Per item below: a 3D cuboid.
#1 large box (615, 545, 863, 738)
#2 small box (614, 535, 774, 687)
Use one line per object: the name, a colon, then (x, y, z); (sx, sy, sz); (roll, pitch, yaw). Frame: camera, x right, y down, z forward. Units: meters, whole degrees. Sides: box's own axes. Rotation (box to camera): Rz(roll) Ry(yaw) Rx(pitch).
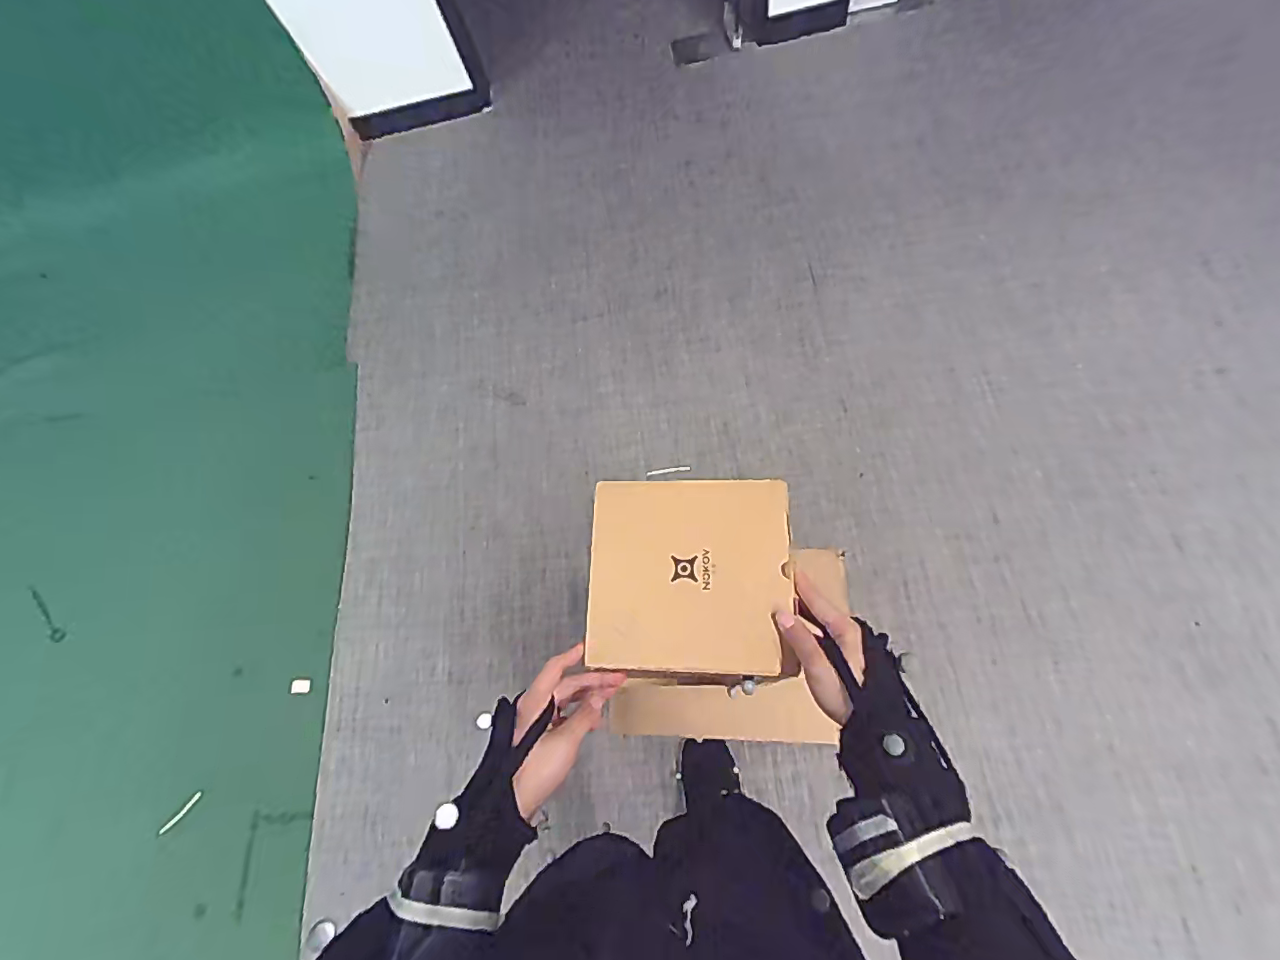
large box: (0.174, 0.315, 1.056); (0.408, 0.320, 0.320); (-2, 71, 8)
small box: (0.067, 0.172, 0.688); (0.179, 0.176, 0.168); (-5, 69, 8)
